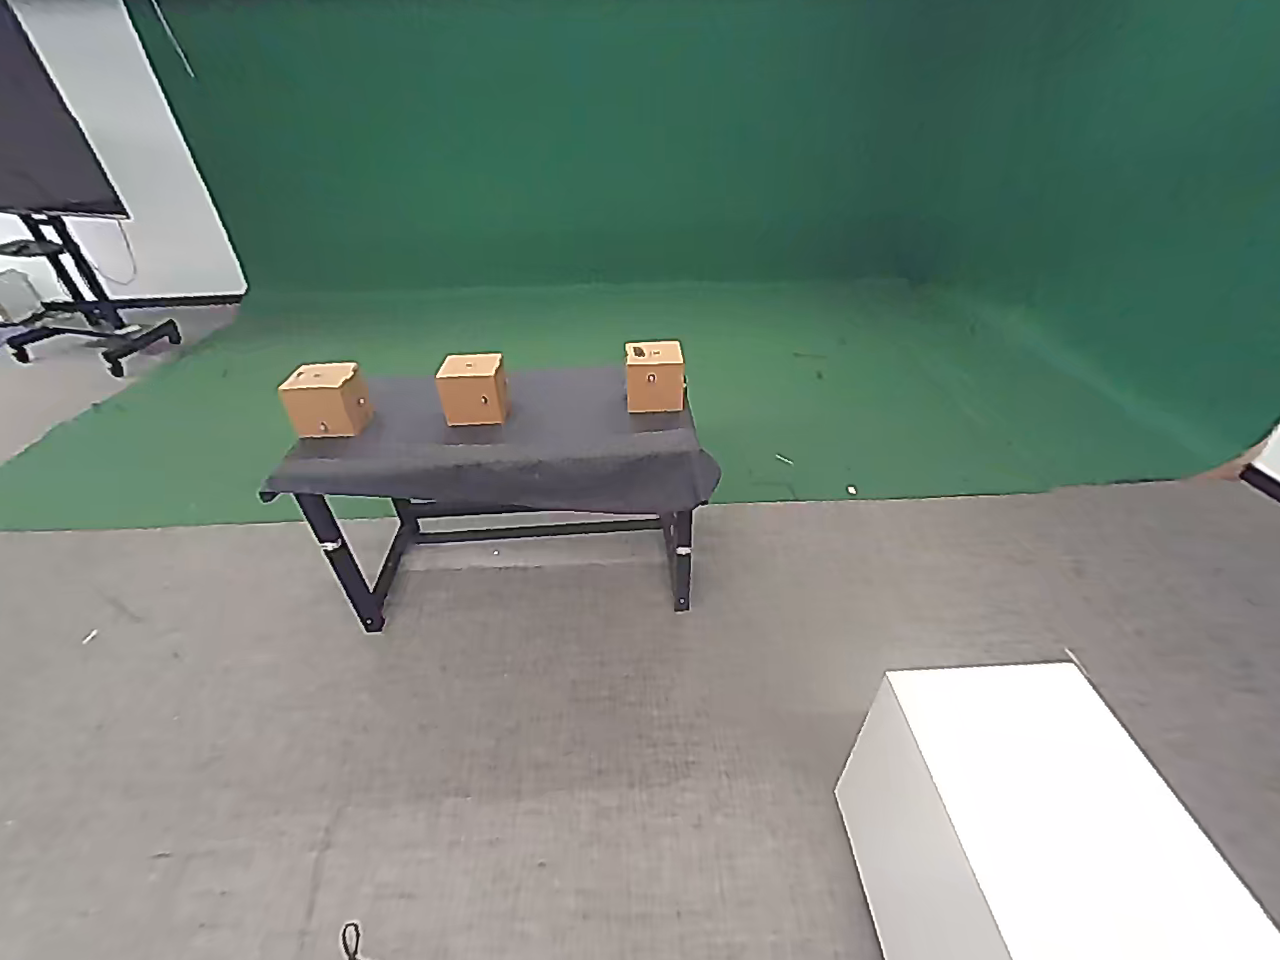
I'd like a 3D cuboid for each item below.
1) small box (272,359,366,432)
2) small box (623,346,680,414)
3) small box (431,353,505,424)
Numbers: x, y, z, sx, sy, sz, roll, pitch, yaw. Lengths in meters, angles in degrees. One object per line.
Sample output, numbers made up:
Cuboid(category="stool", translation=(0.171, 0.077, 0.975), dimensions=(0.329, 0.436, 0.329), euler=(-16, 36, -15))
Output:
Cuboid(category="small box", translation=(-0.964, -0.254, 1.644), dimensions=(0.179, 0.176, 0.168), euler=(-1, 36, -4))
Cuboid(category="small box", translation=(0.034, -0.321, 1.740), dimensions=(0.179, 0.176, 0.168), euler=(0, 37, -2))
Cuboid(category="small box", translation=(-0.529, -0.286, 1.695), dimensions=(0.179, 0.176, 0.168), euler=(-3, 35, -2))
